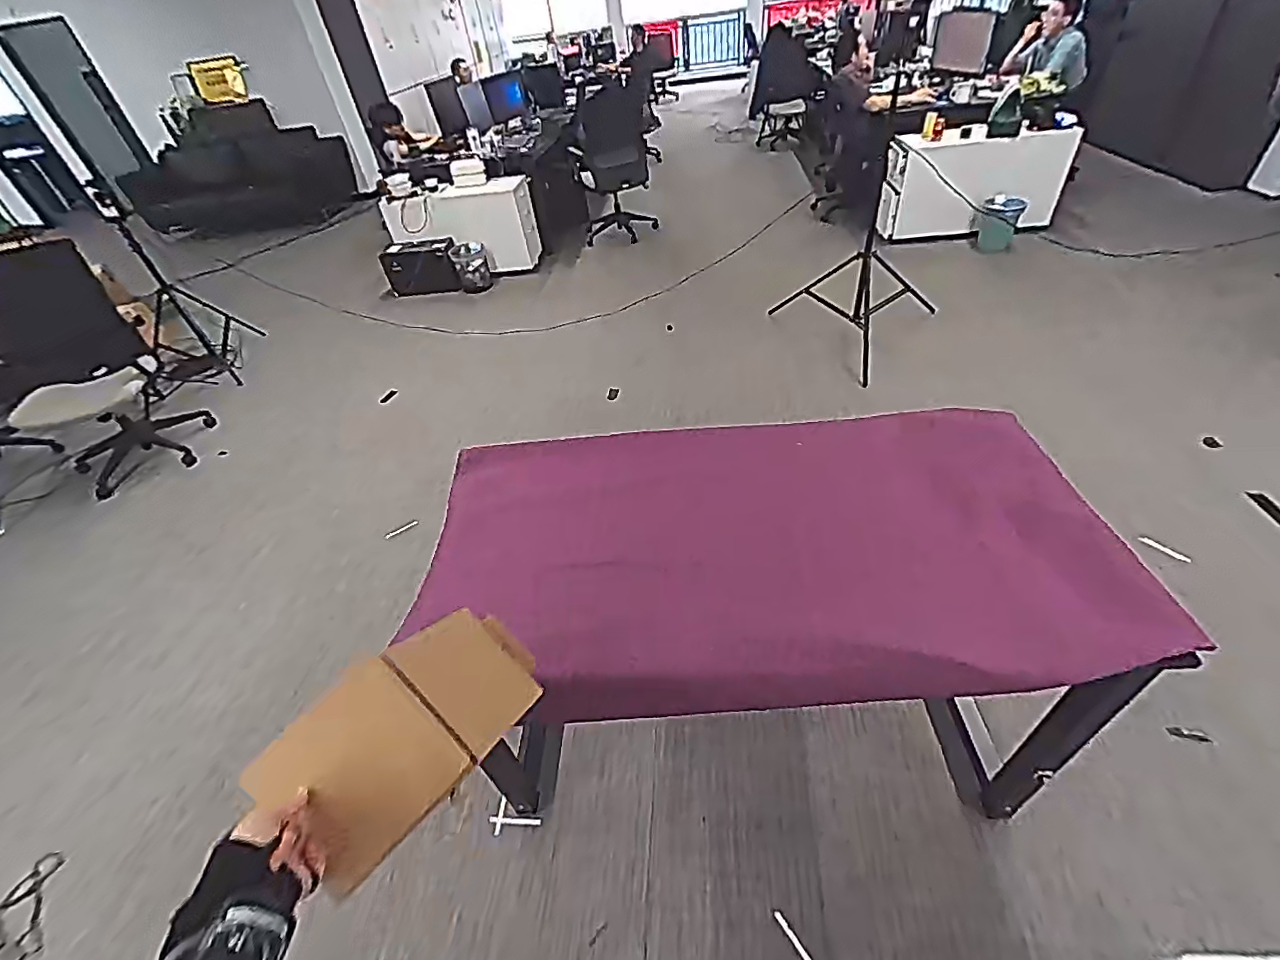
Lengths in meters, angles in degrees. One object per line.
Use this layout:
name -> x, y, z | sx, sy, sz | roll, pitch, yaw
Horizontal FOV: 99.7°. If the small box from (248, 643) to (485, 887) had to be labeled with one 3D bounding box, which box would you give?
small box -> -0.302, 0.320, 0.646 | 0.179, 0.176, 0.168 | -41, 81, -21
